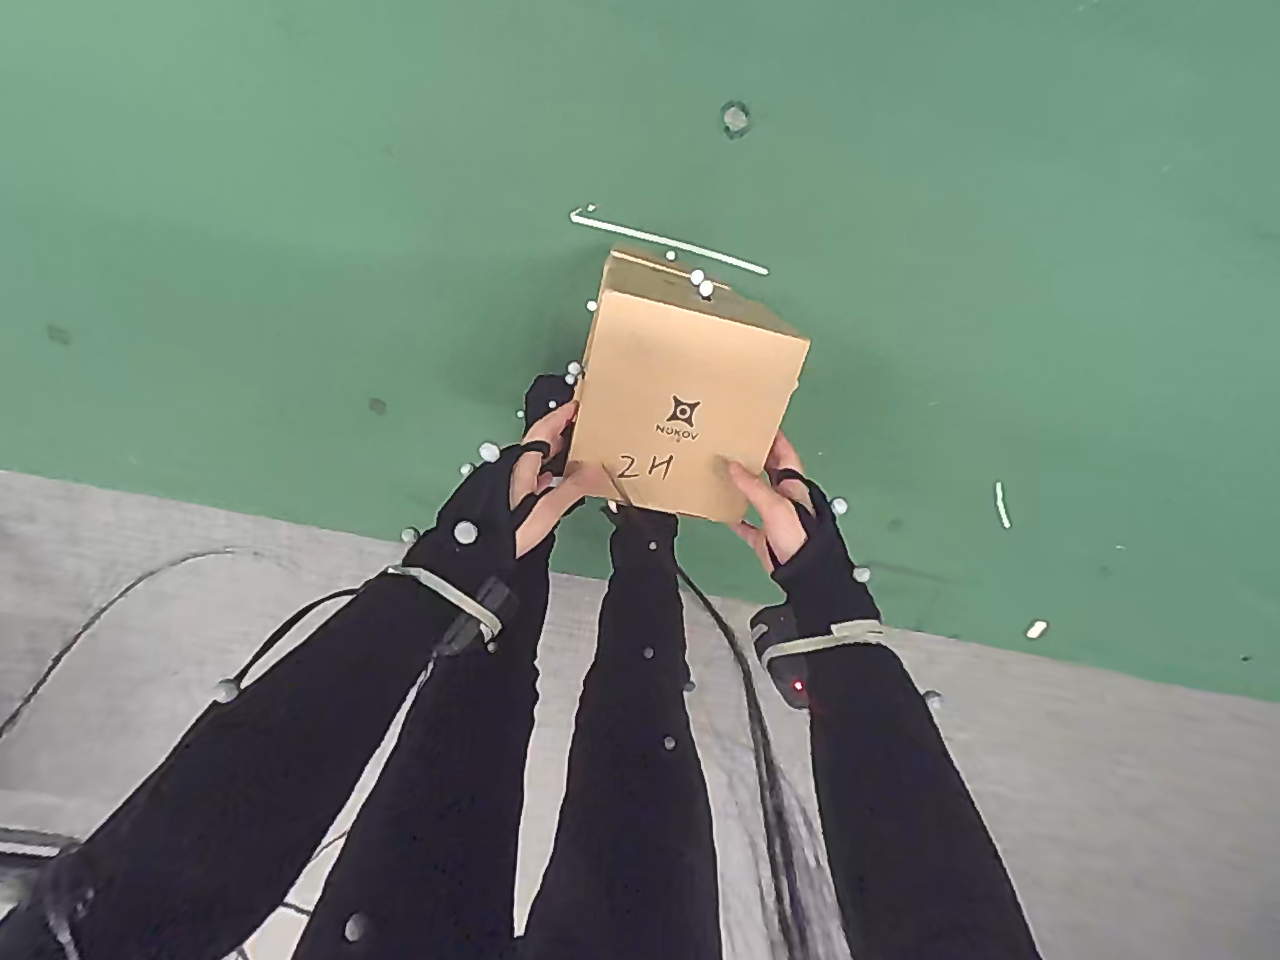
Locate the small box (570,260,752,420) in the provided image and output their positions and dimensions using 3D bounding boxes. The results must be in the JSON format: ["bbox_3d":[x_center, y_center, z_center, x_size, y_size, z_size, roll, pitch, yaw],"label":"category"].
[{"bbox_3d":[0.016,-0.158,0.663,0.168,0.176,0.179,13,115,-8],"label":"small box"}]

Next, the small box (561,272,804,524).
[{"bbox_3d":[0.027,-0.087,0.514,0.168,0.176,0.179,12,116,-7],"label":"small box"}]
